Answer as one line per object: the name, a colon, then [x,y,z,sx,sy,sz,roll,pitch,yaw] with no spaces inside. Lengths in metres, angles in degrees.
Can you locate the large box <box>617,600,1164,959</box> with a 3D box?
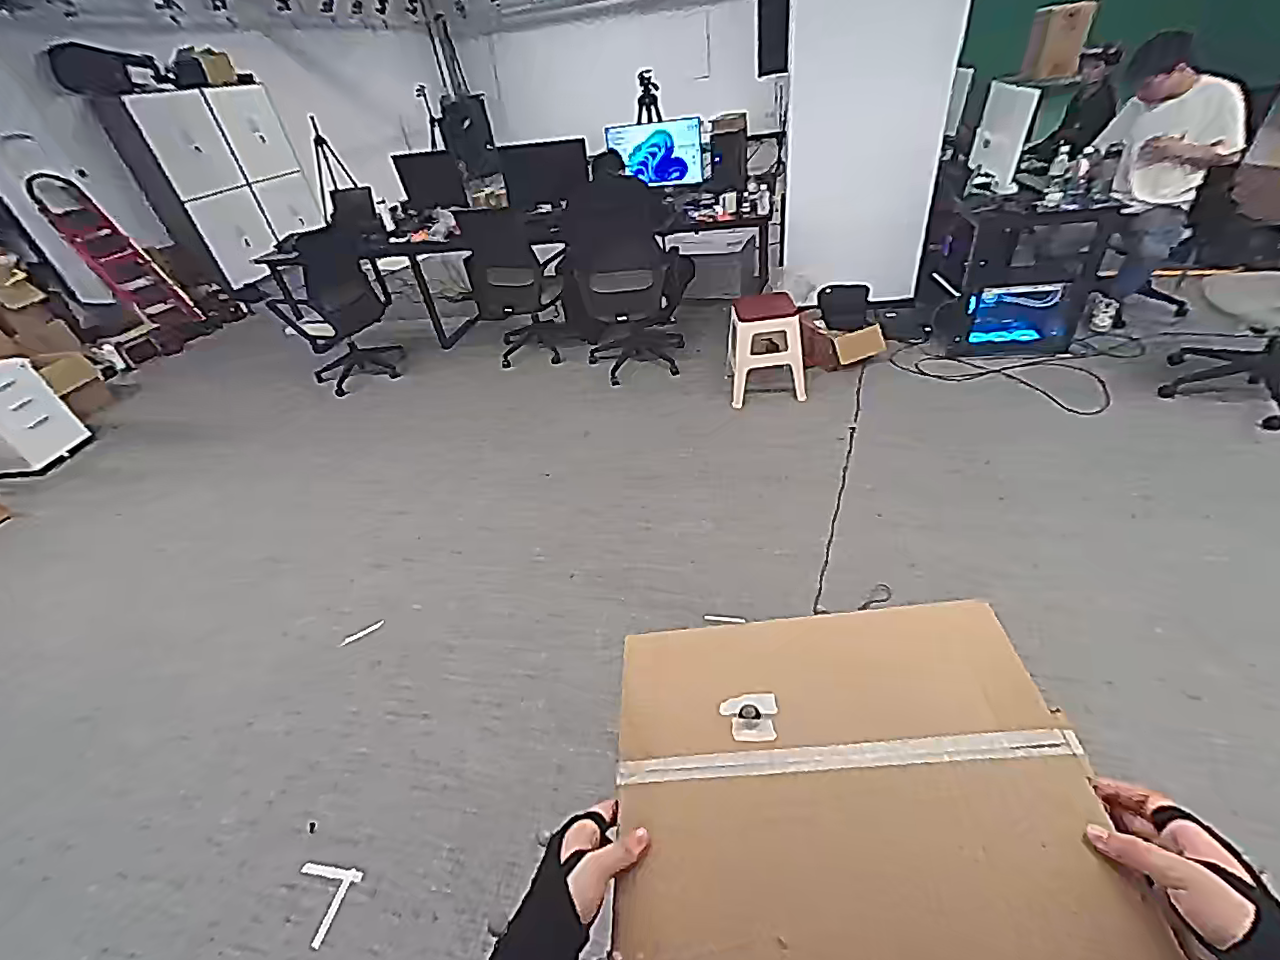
large box: [0.211,0.378,0.609,0.408,0.320,0.320,-11,38,9]
